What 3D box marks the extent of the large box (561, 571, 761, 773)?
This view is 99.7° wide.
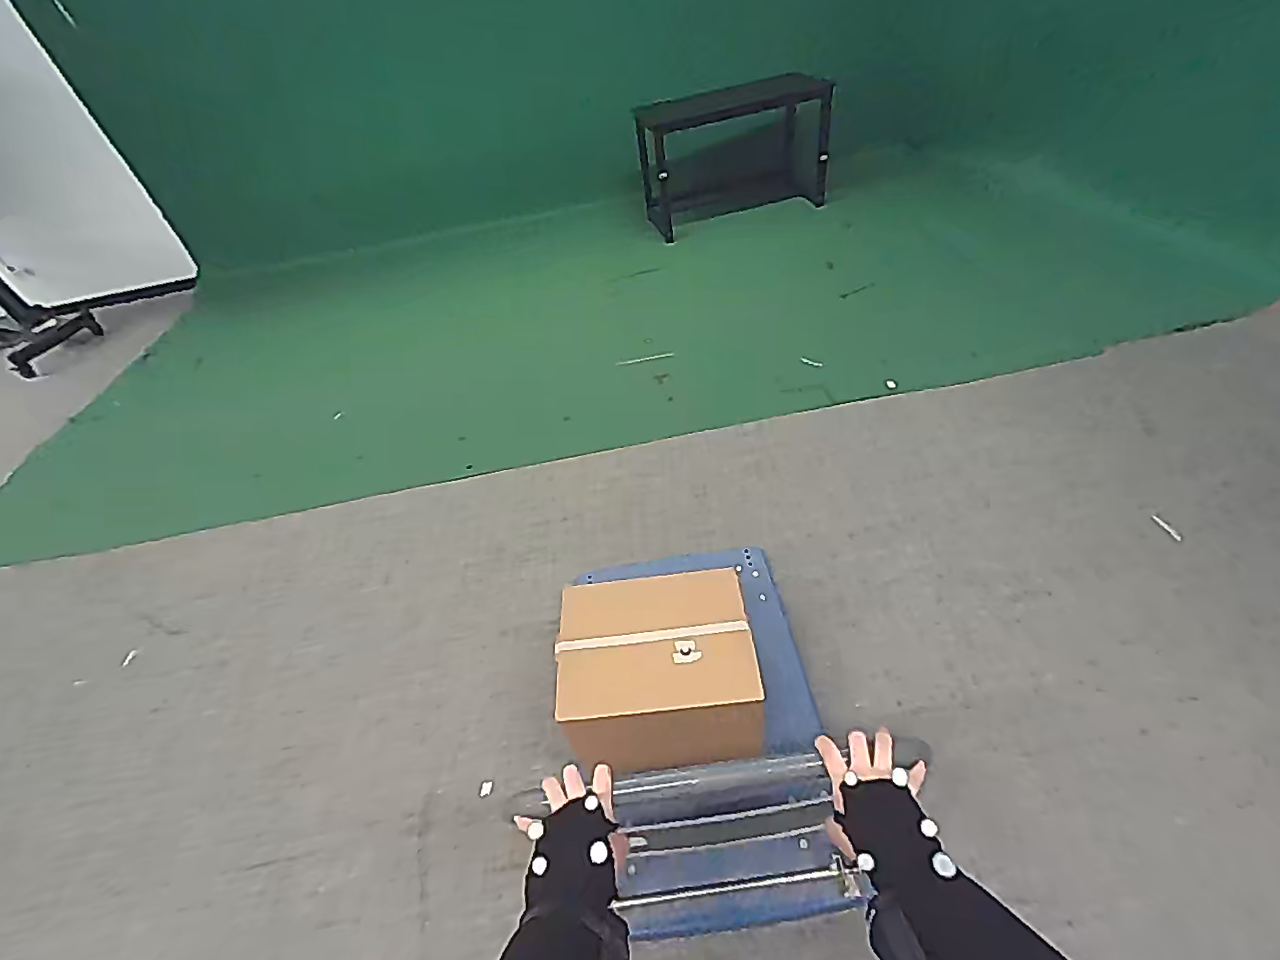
[{"bbox_3d":[0.046,0.449,1.259,0.408,0.320,0.320,-7,43,2],"label":"large box"}]
